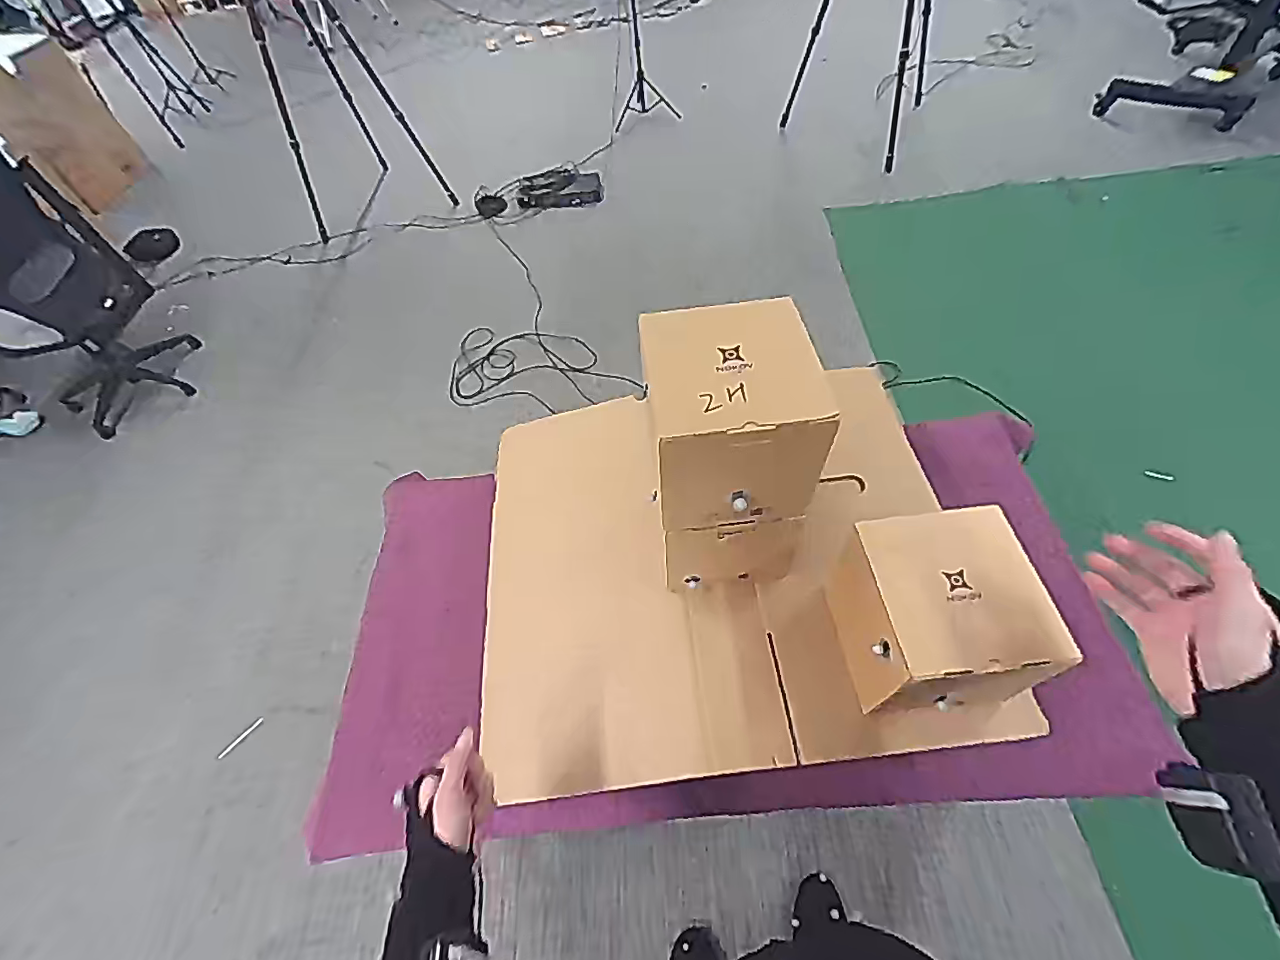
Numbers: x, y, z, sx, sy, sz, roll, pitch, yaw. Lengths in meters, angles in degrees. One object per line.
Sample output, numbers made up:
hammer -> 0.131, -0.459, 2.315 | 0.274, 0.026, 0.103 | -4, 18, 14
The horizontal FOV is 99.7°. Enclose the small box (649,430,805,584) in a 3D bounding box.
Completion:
small box -> 0.105, 0.028, 0.720 | 0.168, 0.176, 0.179 | -6, 55, -1

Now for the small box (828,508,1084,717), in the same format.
small box -> 0.331, 0.155, 0.617 | 0.168, 0.176, 0.179 | -7, 56, 0

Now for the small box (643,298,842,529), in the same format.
small box -> 0.094, -0.068, 0.587 | 0.168, 0.176, 0.179 | -7, 56, 0
